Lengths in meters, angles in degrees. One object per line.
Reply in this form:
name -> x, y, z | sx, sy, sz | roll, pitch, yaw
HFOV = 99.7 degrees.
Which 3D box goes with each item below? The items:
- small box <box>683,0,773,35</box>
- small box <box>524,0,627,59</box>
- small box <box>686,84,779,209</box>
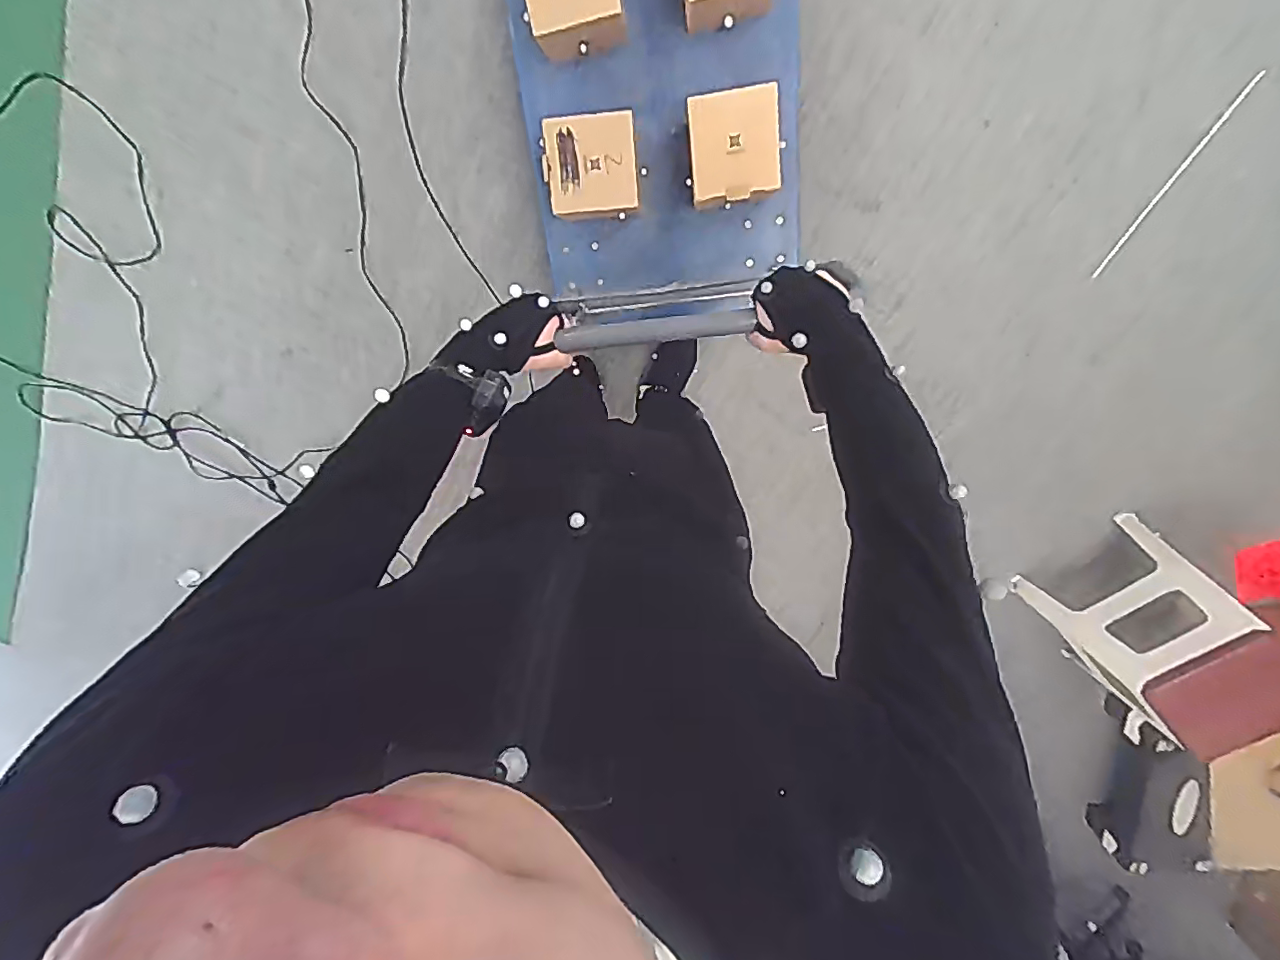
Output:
small box -> 0.152, -0.949, 0.967 | 0.168, 0.176, 0.179 | -9, 112, 9
small box -> -0.124, -0.917, 1.002 | 0.168, 0.176, 0.179 | -9, 112, 7
small box -> 0.182, -0.658, 1.087 | 0.168, 0.176, 0.179 | -5, 112, 7
